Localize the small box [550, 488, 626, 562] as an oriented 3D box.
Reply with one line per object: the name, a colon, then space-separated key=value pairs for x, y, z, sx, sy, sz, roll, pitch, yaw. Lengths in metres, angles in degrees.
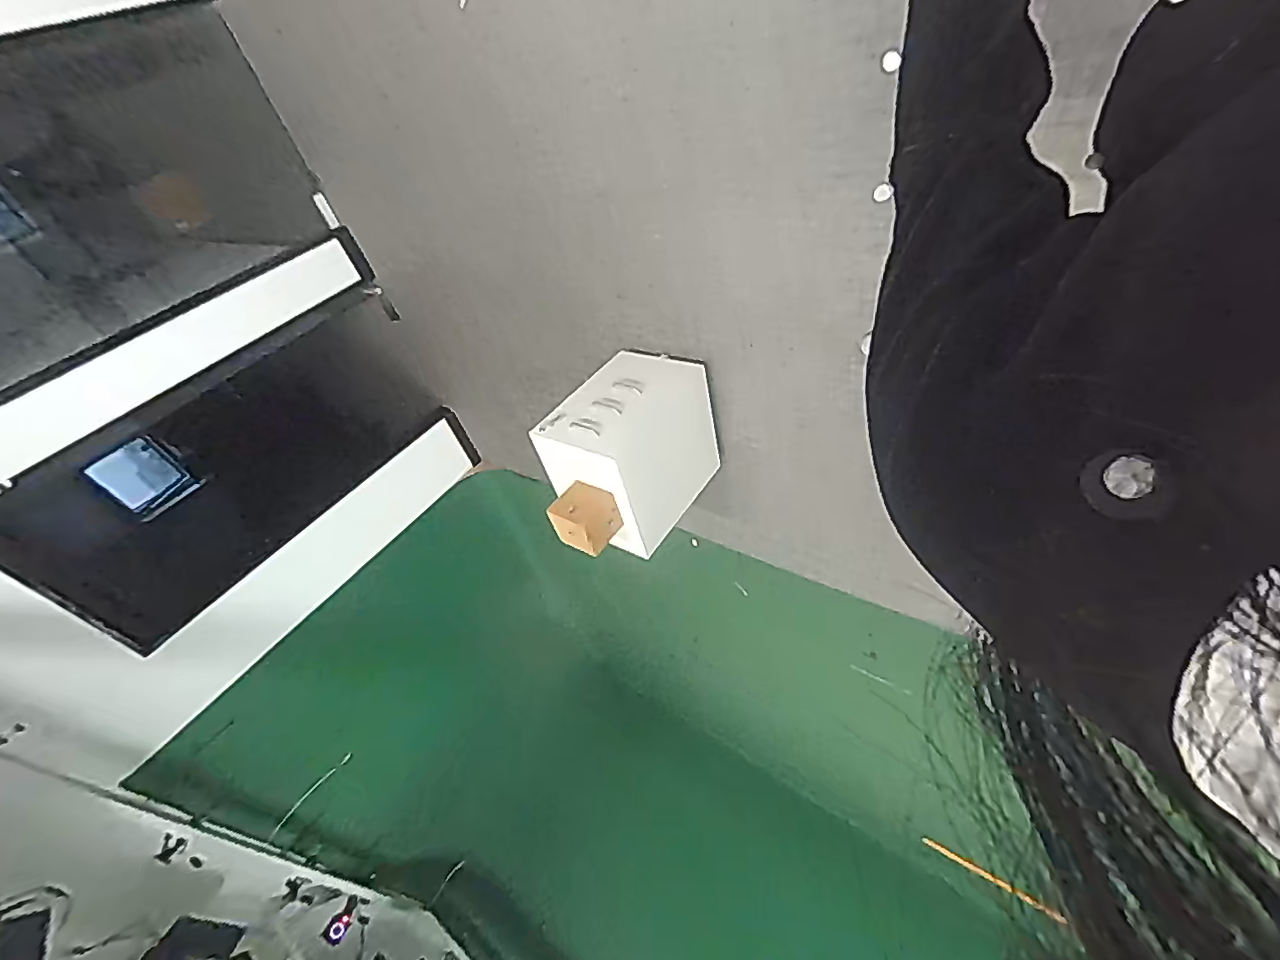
small box: x=-0.177 y=0.150 z=1.880 sx=0.179 sy=0.176 sz=0.168 roll=17 pitch=142 yaw=35
